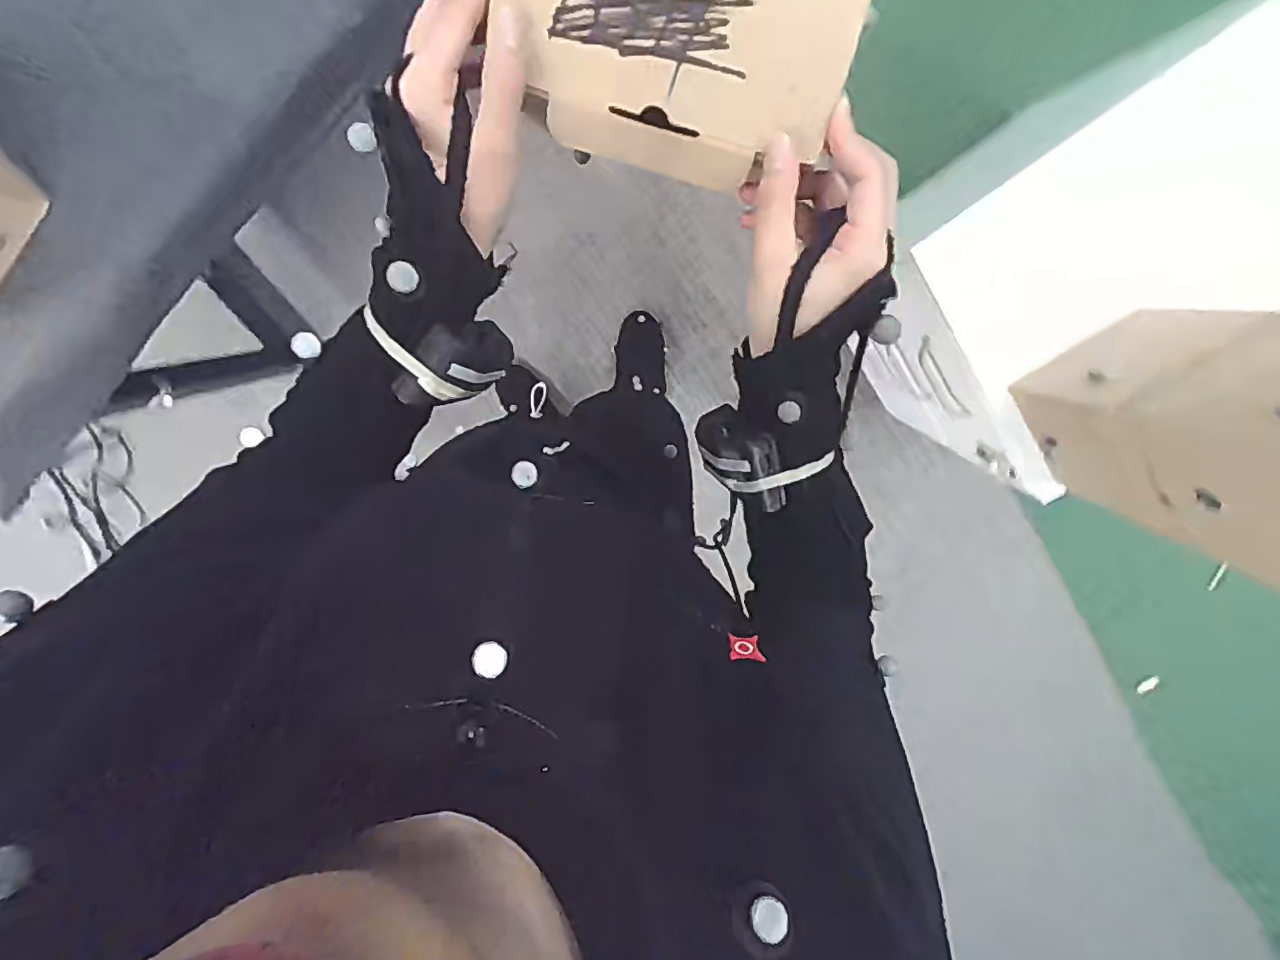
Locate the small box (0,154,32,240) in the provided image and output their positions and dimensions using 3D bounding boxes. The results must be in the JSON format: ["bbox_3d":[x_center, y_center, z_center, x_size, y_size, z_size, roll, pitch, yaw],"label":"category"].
[{"bbox_3d":[-0.716,-0.275,0.466,0.168,0.176,0.179,-38,103,14],"label":"small box"}]

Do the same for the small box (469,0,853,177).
[{"bbox_3d":[0.020,-0.280,0.290,0.168,0.176,0.179,12,114,-6],"label":"small box"}]
